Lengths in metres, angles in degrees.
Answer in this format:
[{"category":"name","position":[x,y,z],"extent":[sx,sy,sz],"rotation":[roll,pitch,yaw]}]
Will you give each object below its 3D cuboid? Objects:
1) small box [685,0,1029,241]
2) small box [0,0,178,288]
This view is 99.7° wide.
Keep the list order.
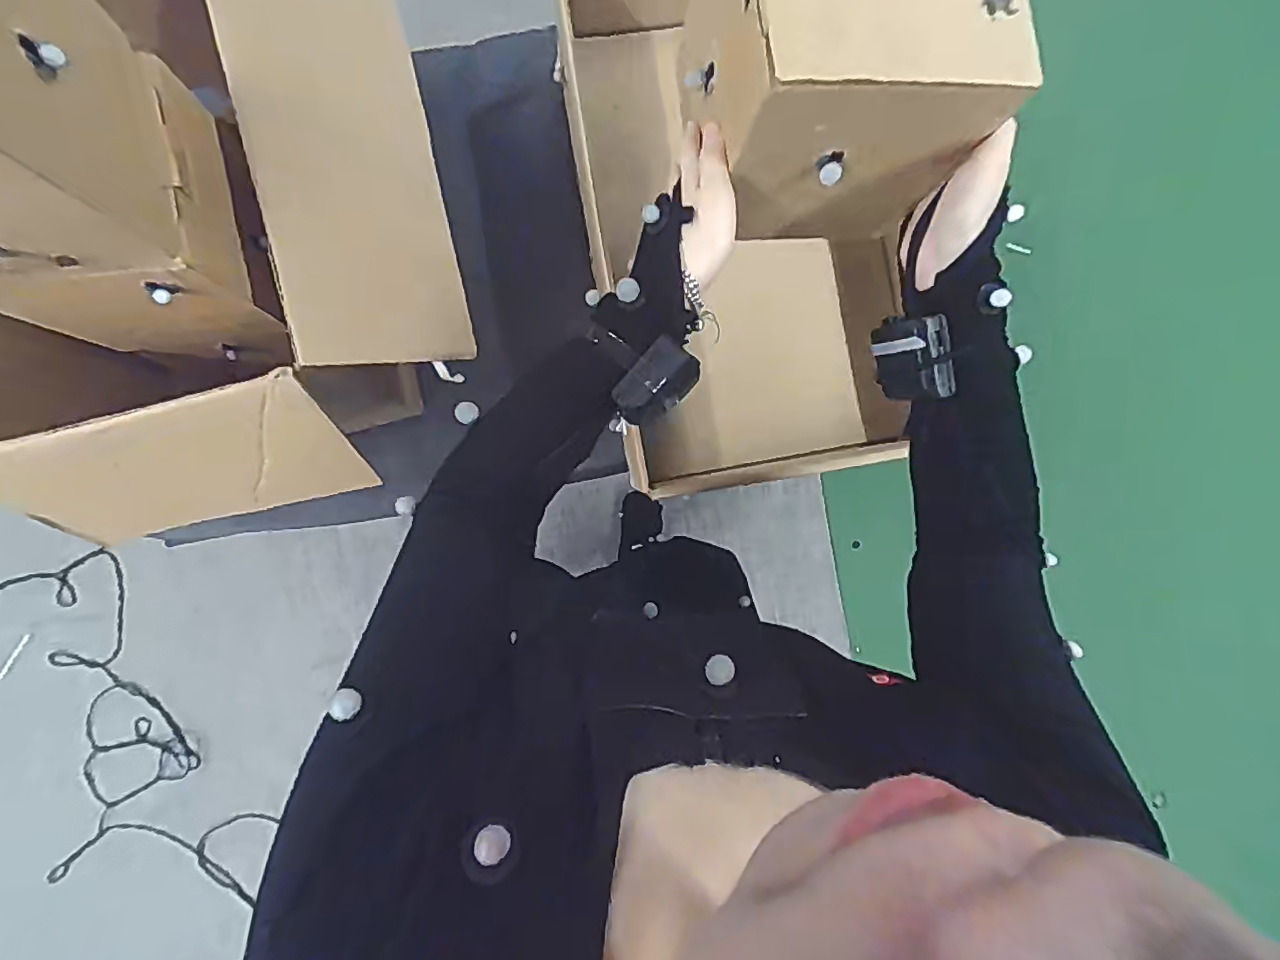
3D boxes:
[{"category":"small box","position":[0.136,-0.300,0.408],"extent":[0.179,0.176,0.168],"rotation":[-6,84,-8]},{"category":"small box","position":[-0.430,-0.234,0.318],"extent":[0.168,0.176,0.179],"rotation":[-12,90,-7]}]
